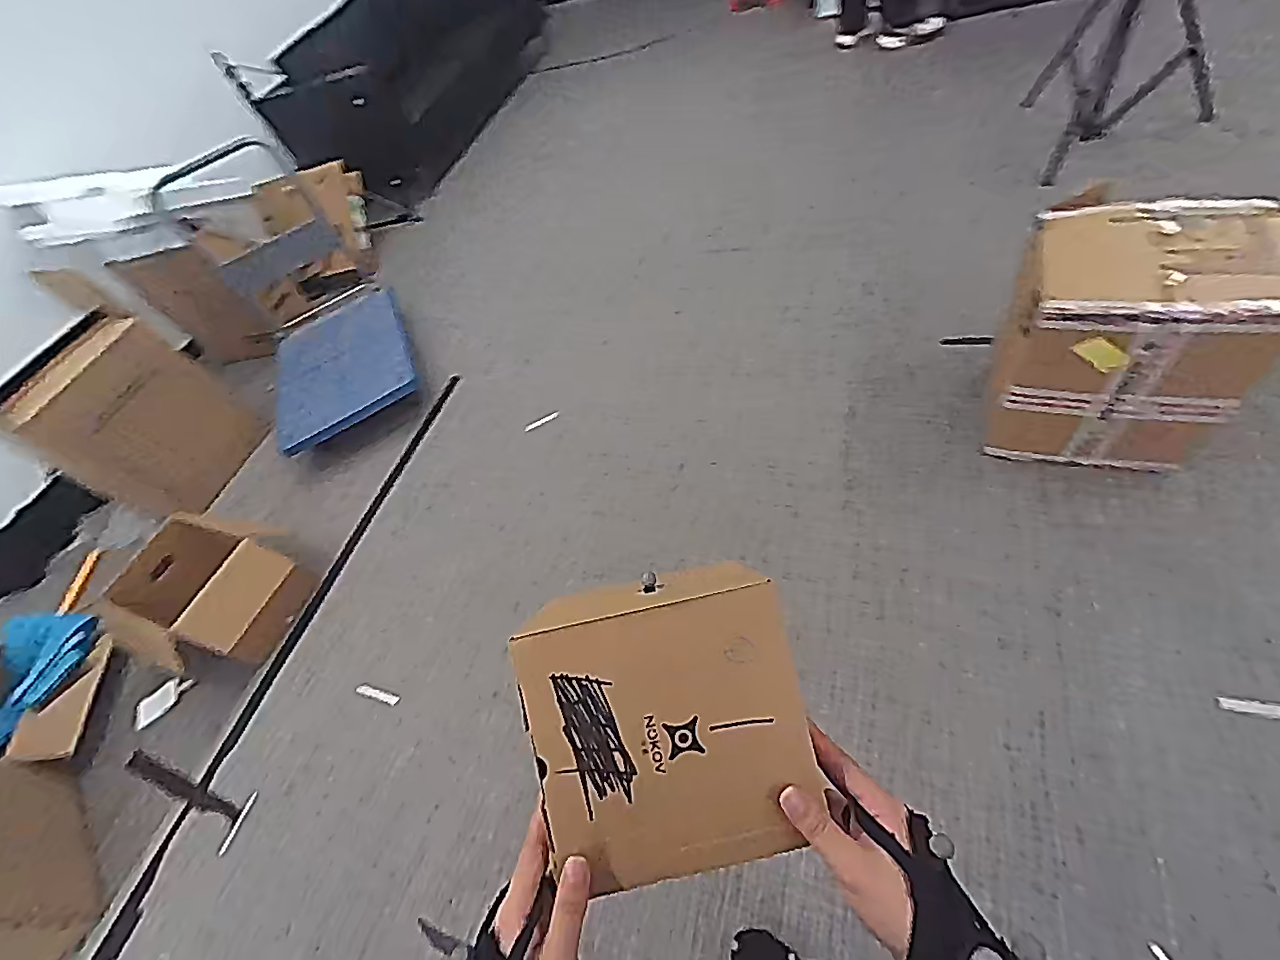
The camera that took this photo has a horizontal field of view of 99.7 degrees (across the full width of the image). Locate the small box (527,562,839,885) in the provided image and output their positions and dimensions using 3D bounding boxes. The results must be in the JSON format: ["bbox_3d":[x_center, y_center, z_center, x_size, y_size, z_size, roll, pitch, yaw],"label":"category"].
[{"bbox_3d":[0.026,0.164,0.423,0.179,0.176,0.168,-11,86,-1],"label":"small box"}]
